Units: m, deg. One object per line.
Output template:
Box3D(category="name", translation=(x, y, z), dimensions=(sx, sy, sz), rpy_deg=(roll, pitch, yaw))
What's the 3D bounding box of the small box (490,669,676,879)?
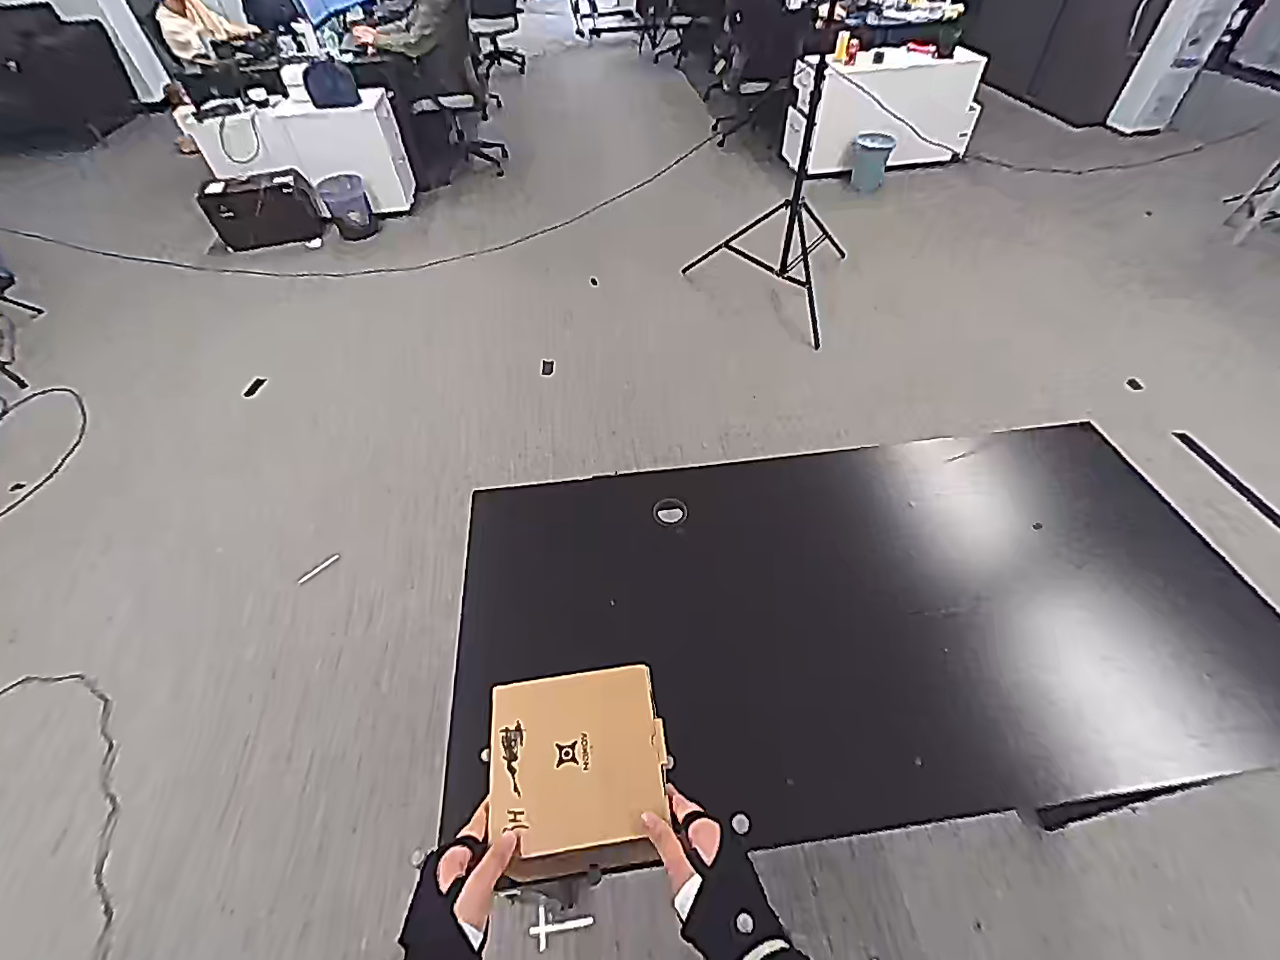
Box3D(category="small box", translation=(-0.062, 0.335, 0.614), dimensions=(0.179, 0.176, 0.168), rpy_deg=(-6, 48, -5))
